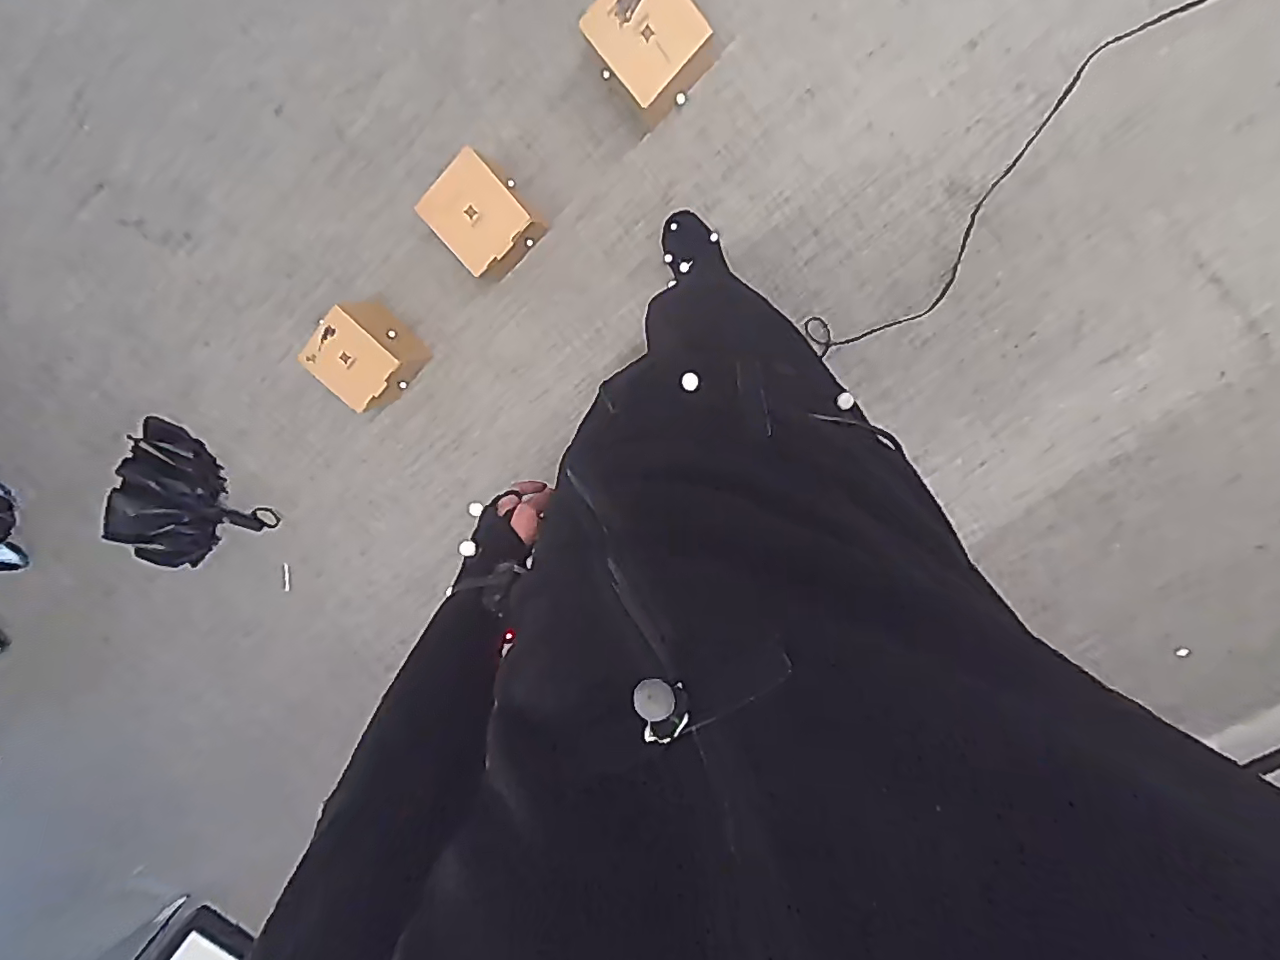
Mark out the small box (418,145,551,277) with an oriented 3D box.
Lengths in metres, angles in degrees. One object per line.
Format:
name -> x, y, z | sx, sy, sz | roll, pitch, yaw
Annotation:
small box -> -0.312, -0.548, 1.128 | 0.168, 0.176, 0.179 | -40, 101, 16

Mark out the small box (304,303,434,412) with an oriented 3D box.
small box -> -0.615, -0.291, 1.251 | 0.179, 0.176, 0.168 | 43, 108, -11

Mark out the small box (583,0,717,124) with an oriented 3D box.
small box -> 0.023, -0.803, 0.996 | 0.168, 0.176, 0.179 | -40, 102, 18
